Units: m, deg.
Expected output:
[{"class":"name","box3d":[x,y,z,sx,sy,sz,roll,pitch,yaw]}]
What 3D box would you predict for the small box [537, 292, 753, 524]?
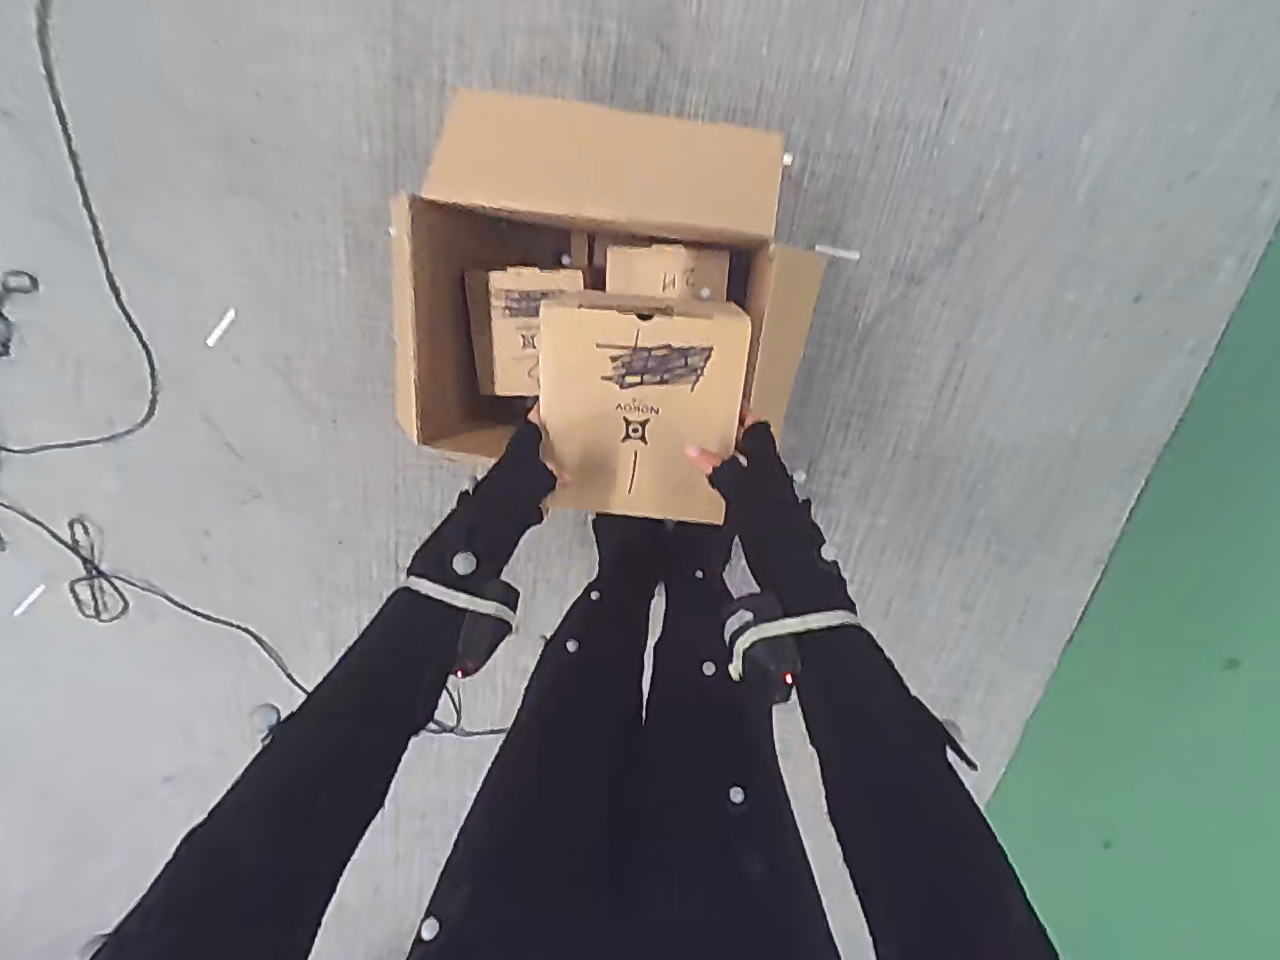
[{"class":"small box","box3d":[0.003,-0.079,0.513,0.168,0.176,0.179,6,113,3]}]
